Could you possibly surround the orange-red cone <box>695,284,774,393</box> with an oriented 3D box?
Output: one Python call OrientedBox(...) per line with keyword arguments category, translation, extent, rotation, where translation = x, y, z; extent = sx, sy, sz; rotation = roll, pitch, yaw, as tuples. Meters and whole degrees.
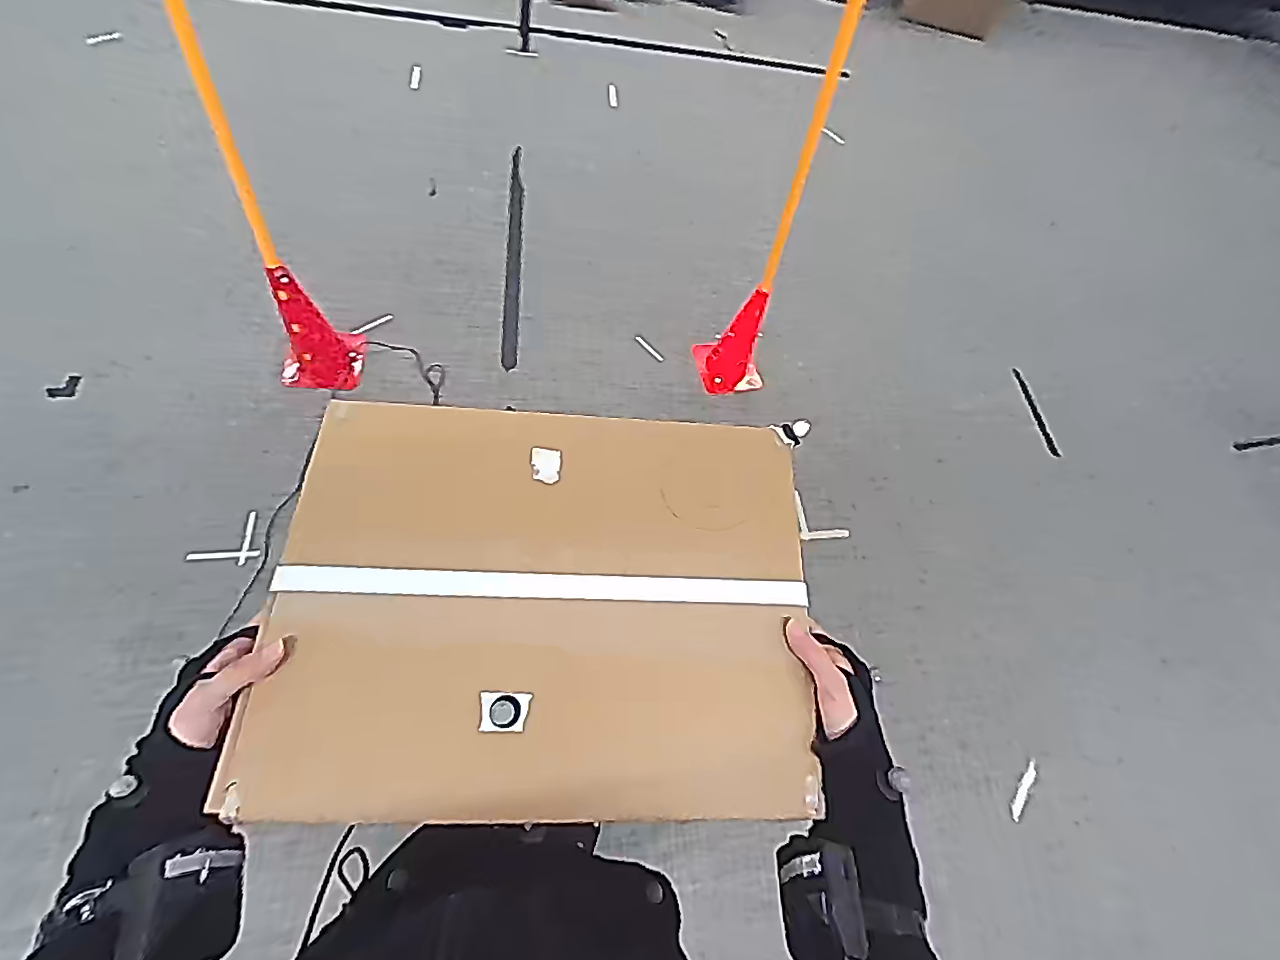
OrientedBox(category="orange-red cone", translation=(0.317, -0.444, 1.618), extent=(0.199, 0.360, 0.198), rotation=(-8, 67, -15))
